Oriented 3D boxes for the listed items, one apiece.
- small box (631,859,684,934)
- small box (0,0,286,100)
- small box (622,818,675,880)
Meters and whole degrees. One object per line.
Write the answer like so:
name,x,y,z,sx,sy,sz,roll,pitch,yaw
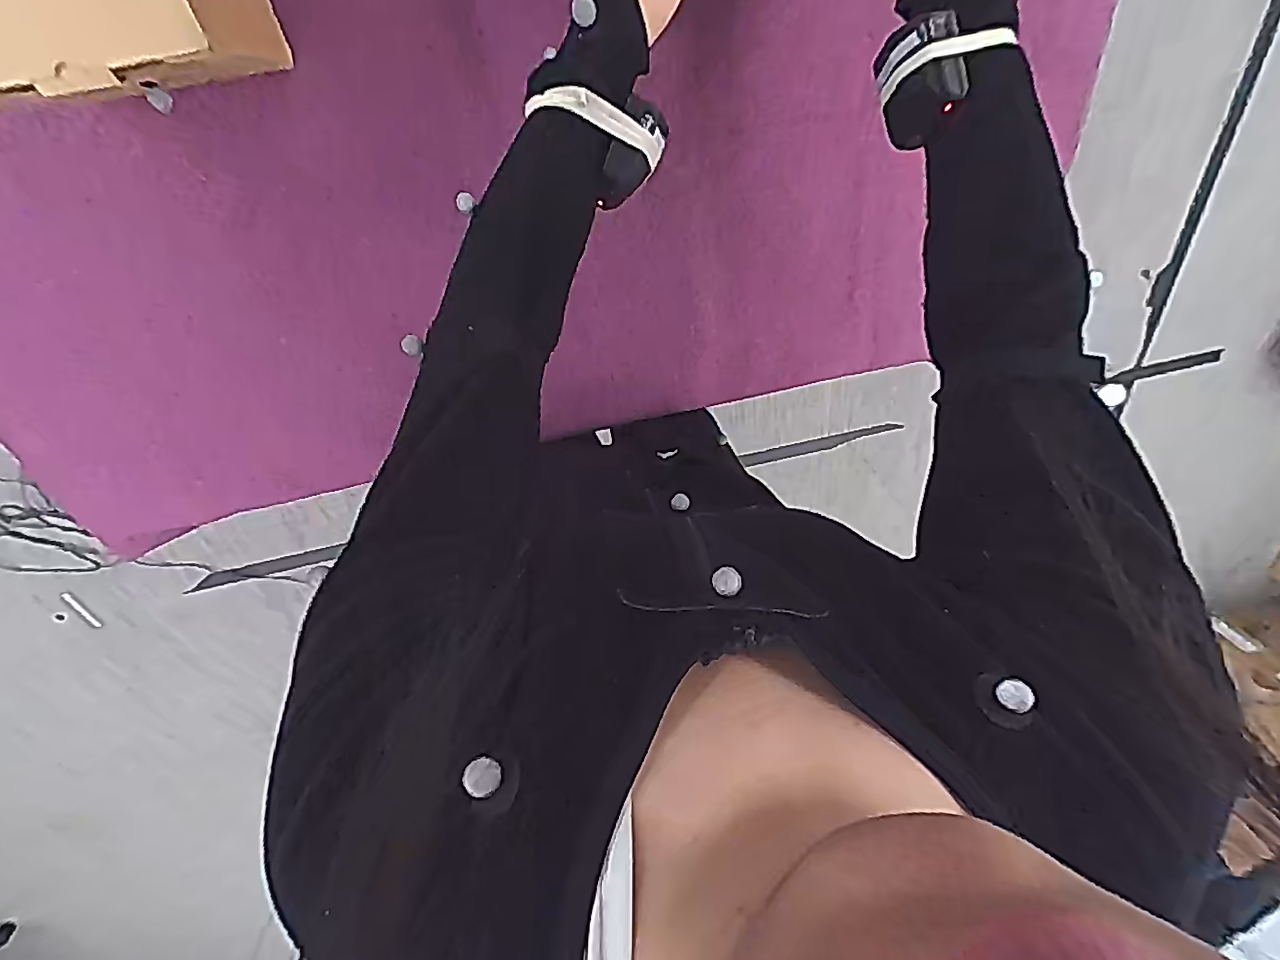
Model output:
small box,0.067,1.616,2.101,0.168,0.176,0.179,-13,124,-4
small box,-0.360,-0.353,0.330,0.168,0.176,0.179,-14,128,-4
small box,0.032,1.535,2.238,0.179,0.176,0.168,-14,124,-3
